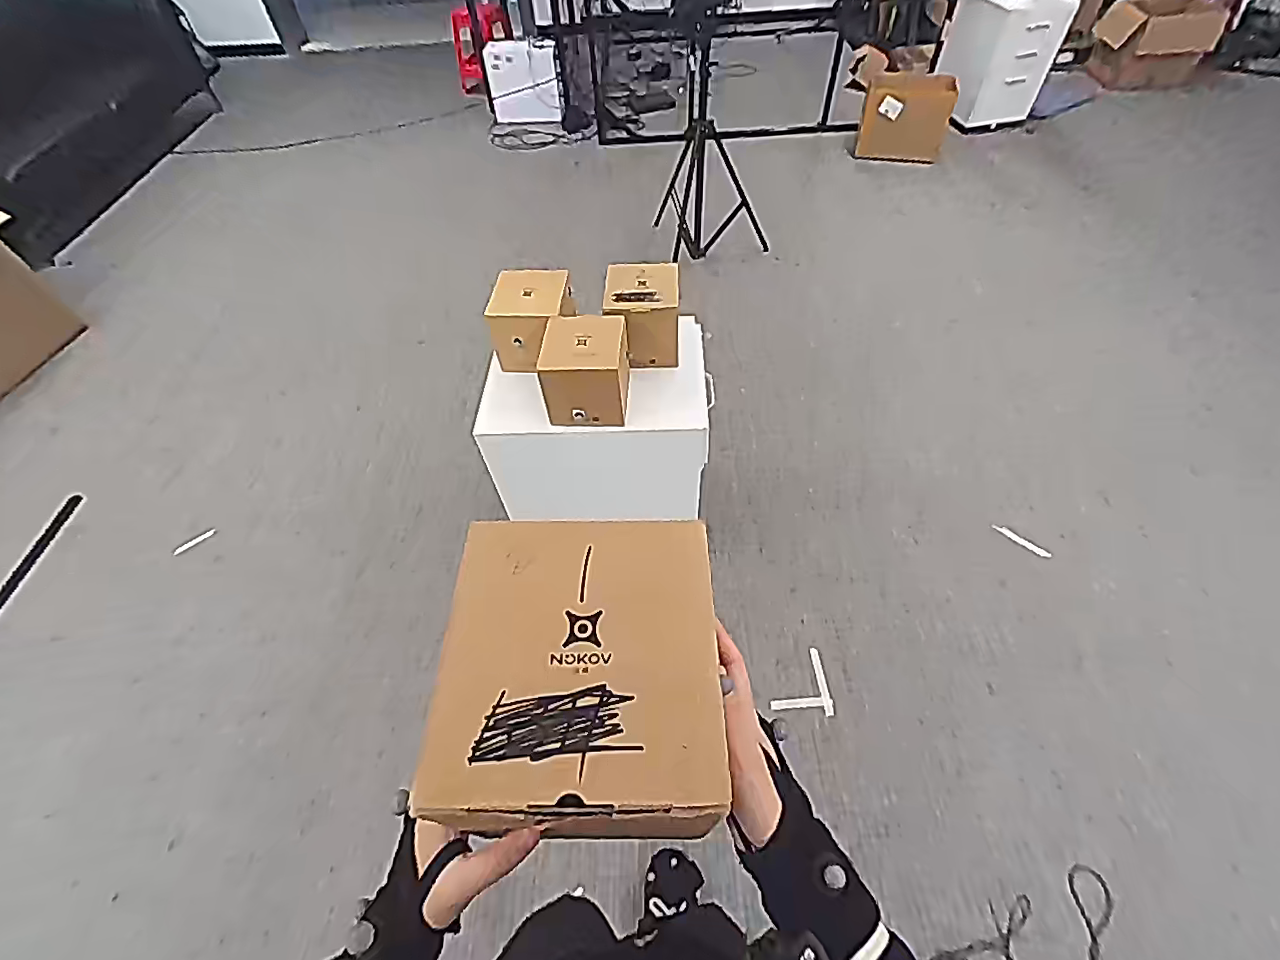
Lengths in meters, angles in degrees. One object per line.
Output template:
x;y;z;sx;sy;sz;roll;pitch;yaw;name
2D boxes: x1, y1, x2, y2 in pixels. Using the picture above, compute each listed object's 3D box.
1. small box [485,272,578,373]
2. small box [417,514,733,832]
-0.246;-0.369;1.278;0.168;0.176;0.179;1;53;4;small box
-0.031;0.142;0.385;0.168;0.176;0.179;0;52;0;small box
